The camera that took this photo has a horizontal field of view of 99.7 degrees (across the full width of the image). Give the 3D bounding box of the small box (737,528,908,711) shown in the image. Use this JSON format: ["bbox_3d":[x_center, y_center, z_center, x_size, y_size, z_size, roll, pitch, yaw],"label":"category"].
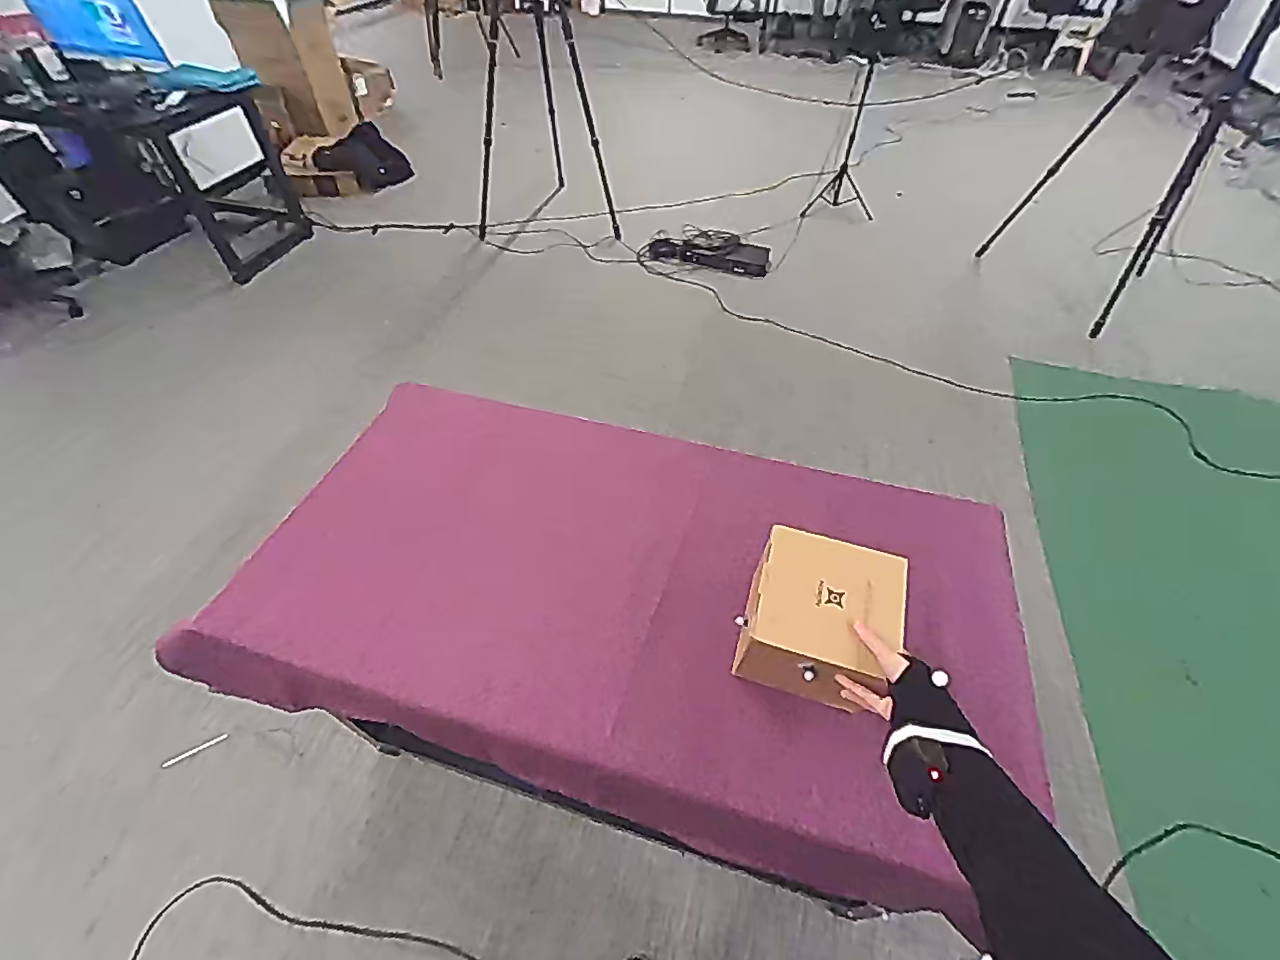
[{"bbox_3d":[0.240,0.195,0.736,0.179,0.176,0.168,15,57,11],"label":"small box"}]
